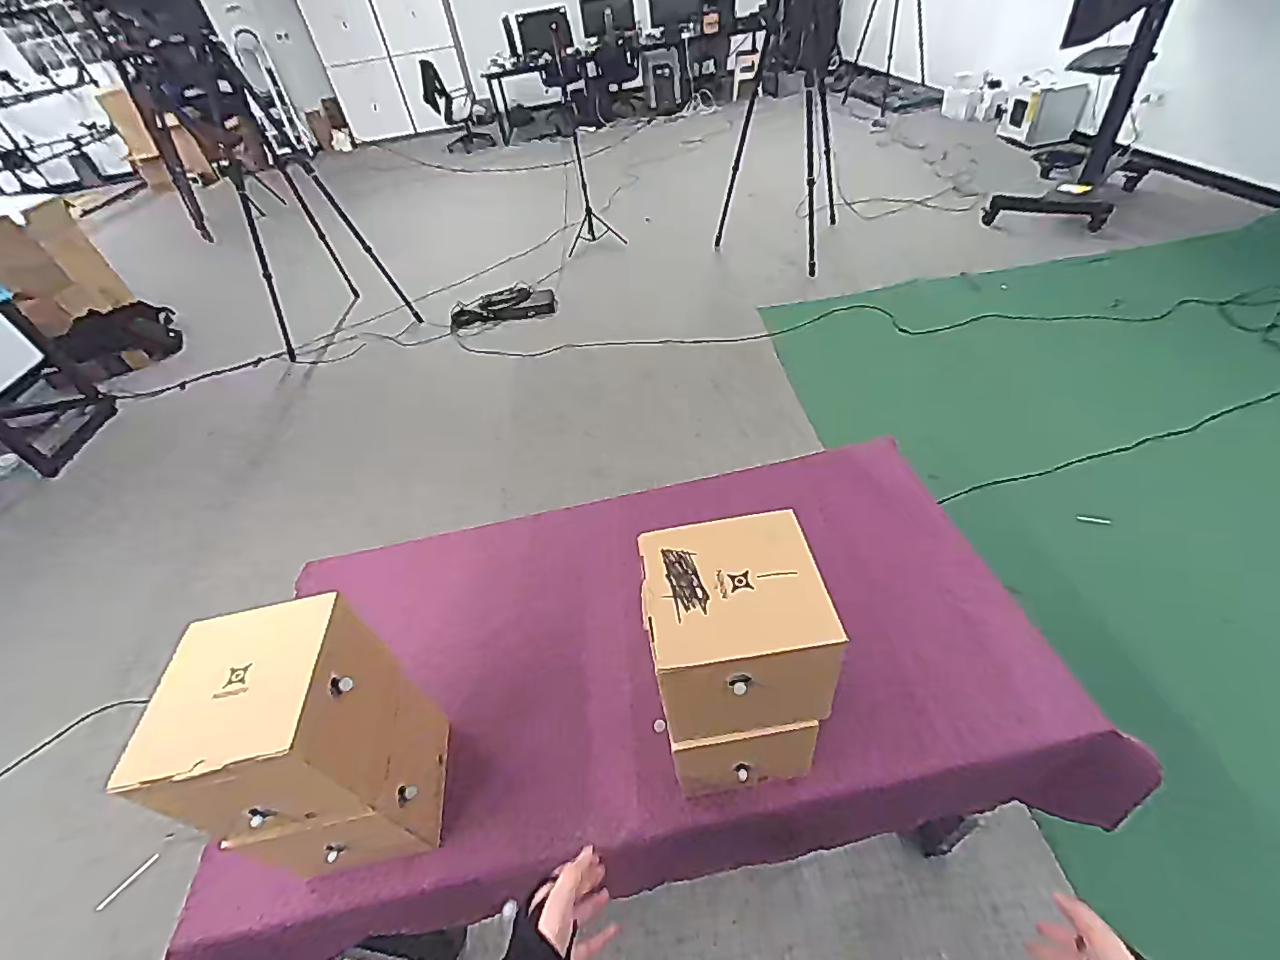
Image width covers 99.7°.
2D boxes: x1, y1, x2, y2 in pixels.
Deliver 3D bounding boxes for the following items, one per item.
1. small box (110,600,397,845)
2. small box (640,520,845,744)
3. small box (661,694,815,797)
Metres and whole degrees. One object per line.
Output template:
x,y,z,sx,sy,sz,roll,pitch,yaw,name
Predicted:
-0.387,0.262,0.588,0.168,0.176,0.179,-12,44,-2,small box
0.102,0.170,0.594,0.179,0.176,0.168,-9,43,0,small box
0.115,0.292,0.704,0.168,0.176,0.179,-9,43,0,small box
